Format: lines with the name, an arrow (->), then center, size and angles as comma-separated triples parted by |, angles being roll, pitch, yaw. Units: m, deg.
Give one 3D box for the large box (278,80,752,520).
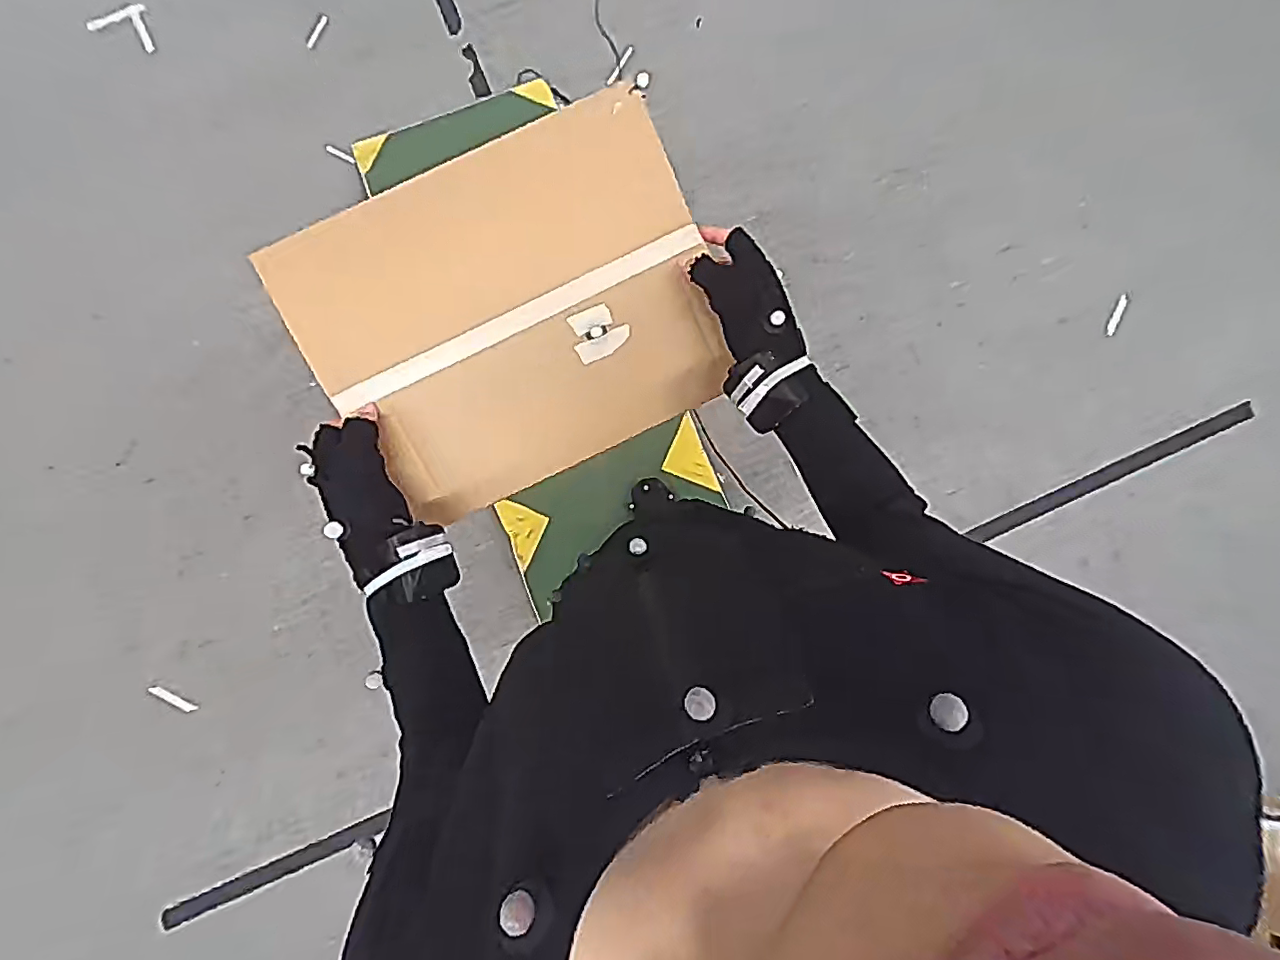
large box -> -0.133, -0.197, 0.705 | 0.408, 0.320, 0.320 | -26, 101, -2
